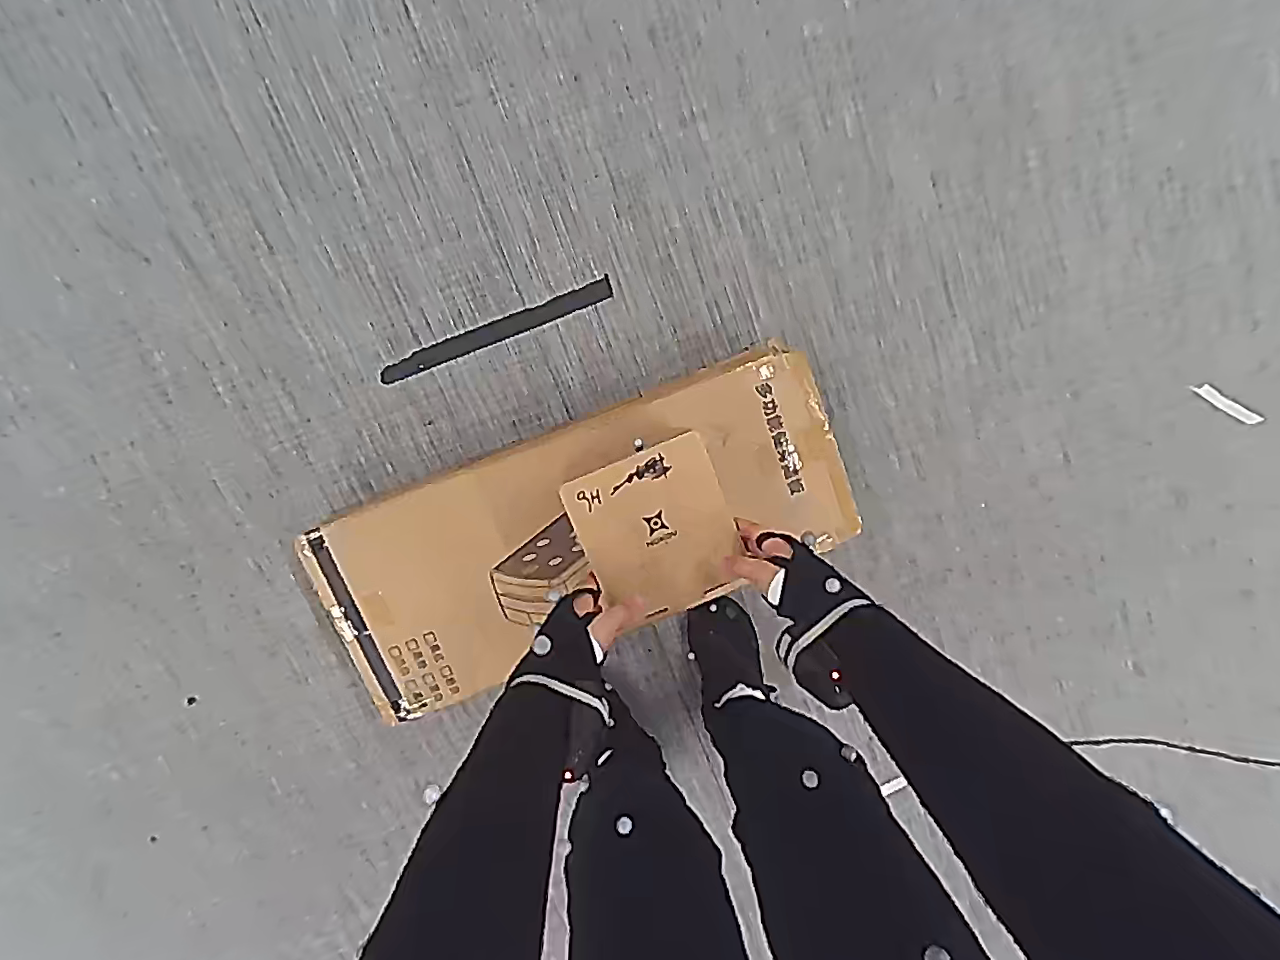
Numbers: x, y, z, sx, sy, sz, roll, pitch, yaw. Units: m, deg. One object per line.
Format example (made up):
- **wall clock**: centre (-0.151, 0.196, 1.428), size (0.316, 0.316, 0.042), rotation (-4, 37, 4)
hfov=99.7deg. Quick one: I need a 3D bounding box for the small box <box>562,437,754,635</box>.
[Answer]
- **small box**: centre (0.015, 0.055, 0.665), size (0.168, 0.176, 0.179), rotation (-23, 97, -4)
